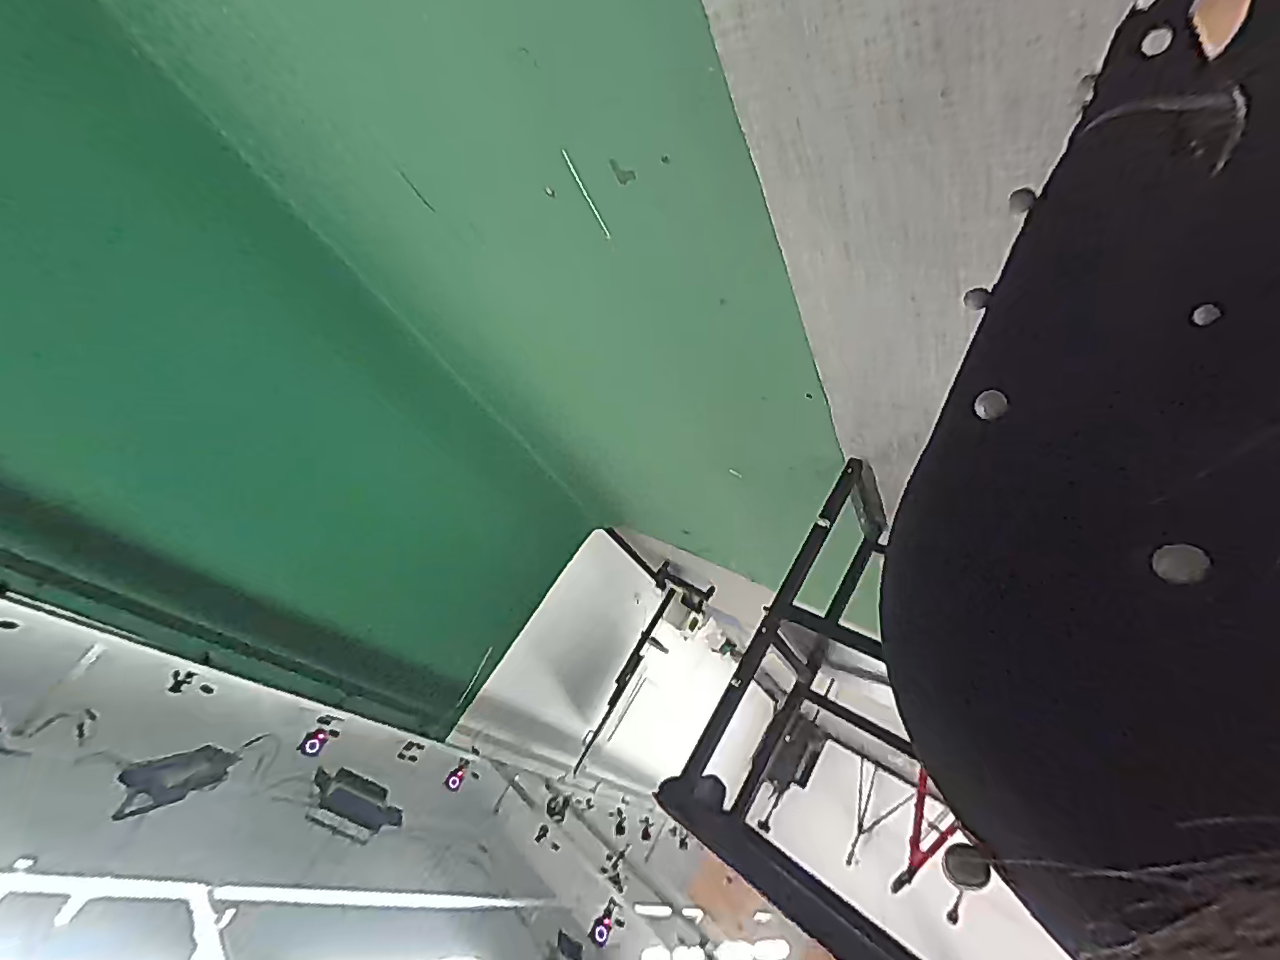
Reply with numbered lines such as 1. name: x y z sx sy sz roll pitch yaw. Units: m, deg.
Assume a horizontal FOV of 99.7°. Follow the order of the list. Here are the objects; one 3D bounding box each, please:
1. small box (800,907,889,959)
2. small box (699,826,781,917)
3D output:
1. small box: 0.557 1.302 1.469 0.168 0.176 0.179 18 157 41
2. small box: 0.321 1.226 1.700 0.168 0.176 0.179 19 157 40
